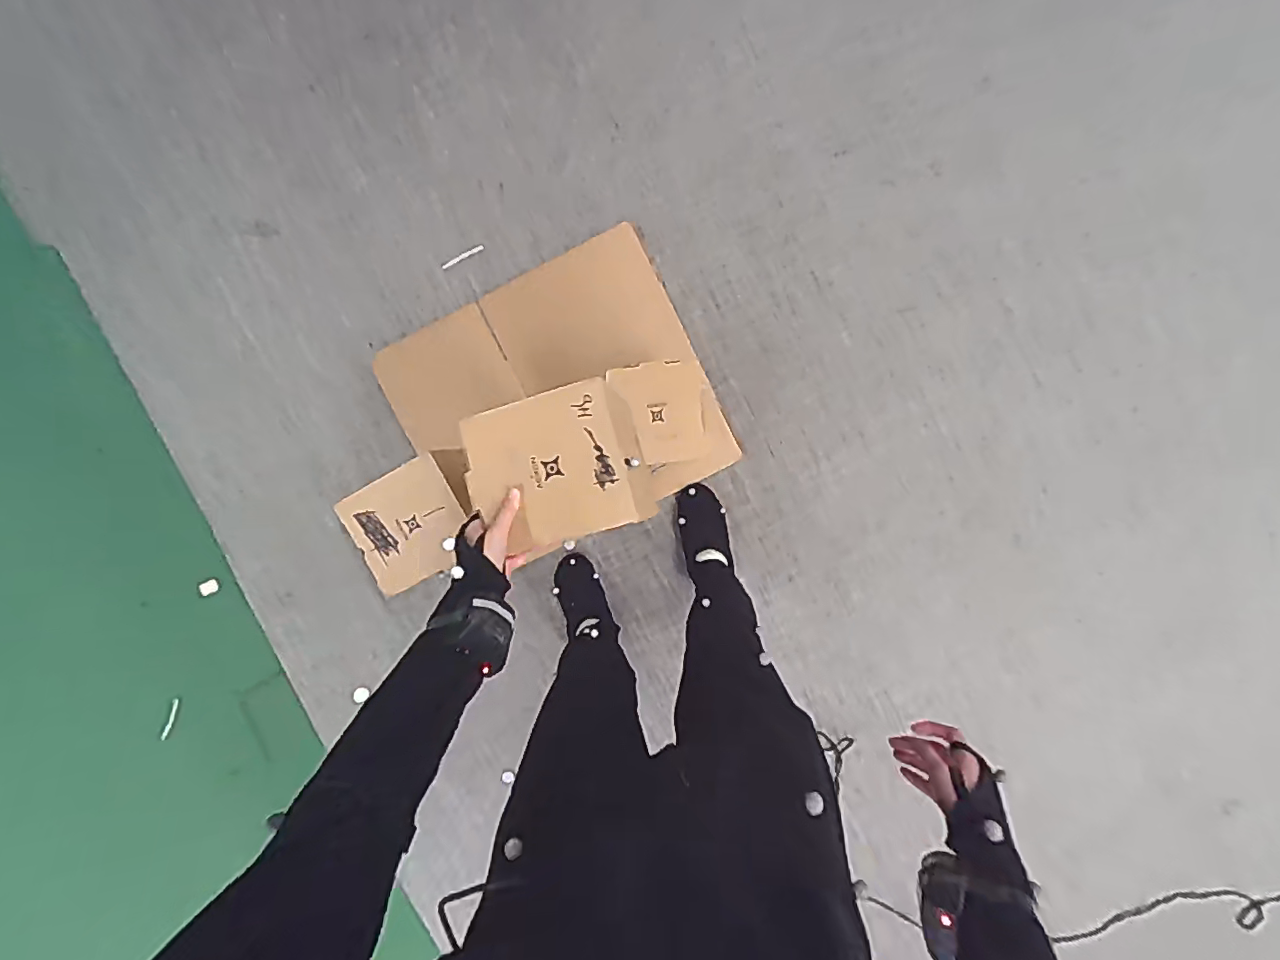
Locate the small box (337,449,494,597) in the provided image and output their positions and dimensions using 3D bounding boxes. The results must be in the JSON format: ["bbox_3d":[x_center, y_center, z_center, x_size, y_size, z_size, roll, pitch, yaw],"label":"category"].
[{"bbox_3d":[-0.335,0.061,0.878,0.179,0.176,0.168,-28,93,4],"label":"small box"}]

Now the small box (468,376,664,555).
[{"bbox_3d":[-0.081,-0.011,0.670,0.179,0.176,0.168,-15,86,9],"label":"small box"}]

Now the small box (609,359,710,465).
[{"bbox_3d":[0.035,-0.119,1.008,0.168,0.176,0.179,-5,94,2],"label":"small box"}]
